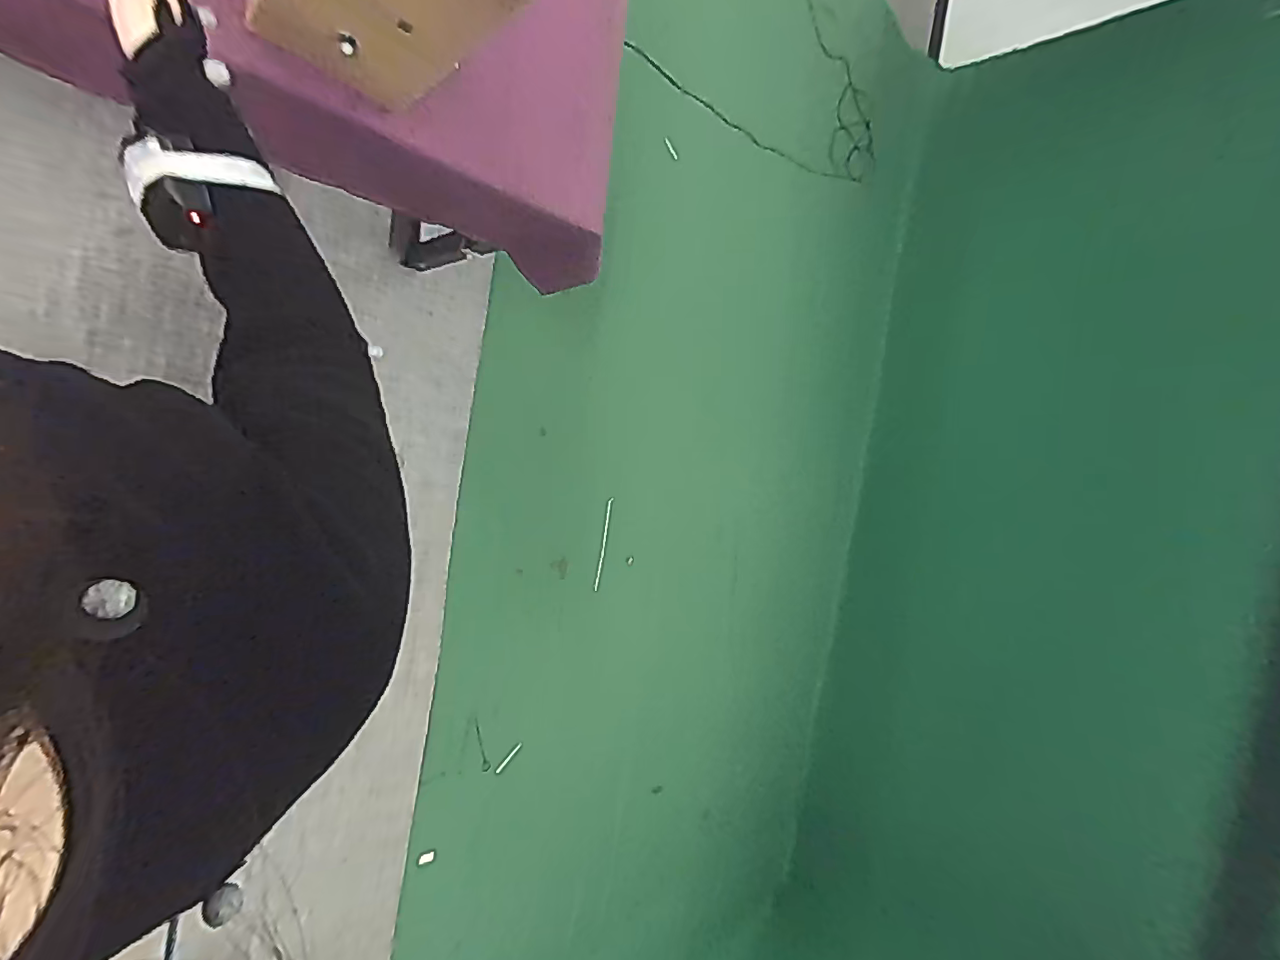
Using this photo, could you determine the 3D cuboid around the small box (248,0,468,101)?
[{"bbox_3d":[-0.312,-0.571,0.611,0.179,0.176,0.168,6,94,-46],"label":"small box"}]
